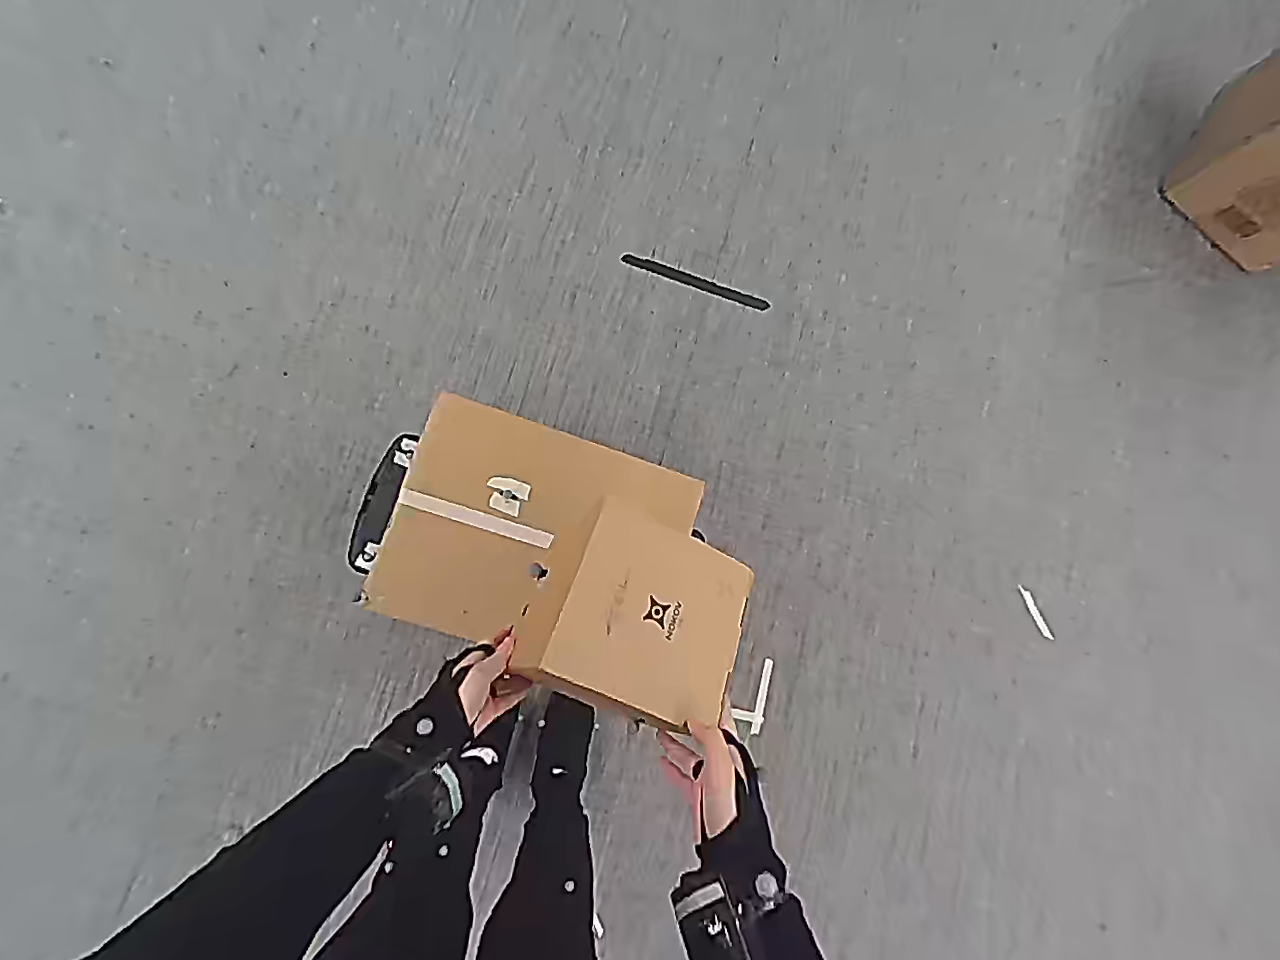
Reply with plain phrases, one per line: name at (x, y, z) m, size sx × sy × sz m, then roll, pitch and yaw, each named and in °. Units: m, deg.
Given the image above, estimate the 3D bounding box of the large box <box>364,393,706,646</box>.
large box at (-0.151, 0.096, 0.895) m, size 0.408 × 0.320 × 0.320 m, roll 19°, pitch 81°, yaw -6°

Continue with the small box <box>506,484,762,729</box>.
small box at (-0.011, 0.131, 0.551) m, size 0.179 × 0.176 × 0.168 m, roll 30°, pitch 62°, yaw -15°

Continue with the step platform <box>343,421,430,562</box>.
step platform at (-0.226, 0.138, 1.121) m, size 0.684 × 0.204 × 0.286 m, roll 24°, pitch 81°, yaw -5°
